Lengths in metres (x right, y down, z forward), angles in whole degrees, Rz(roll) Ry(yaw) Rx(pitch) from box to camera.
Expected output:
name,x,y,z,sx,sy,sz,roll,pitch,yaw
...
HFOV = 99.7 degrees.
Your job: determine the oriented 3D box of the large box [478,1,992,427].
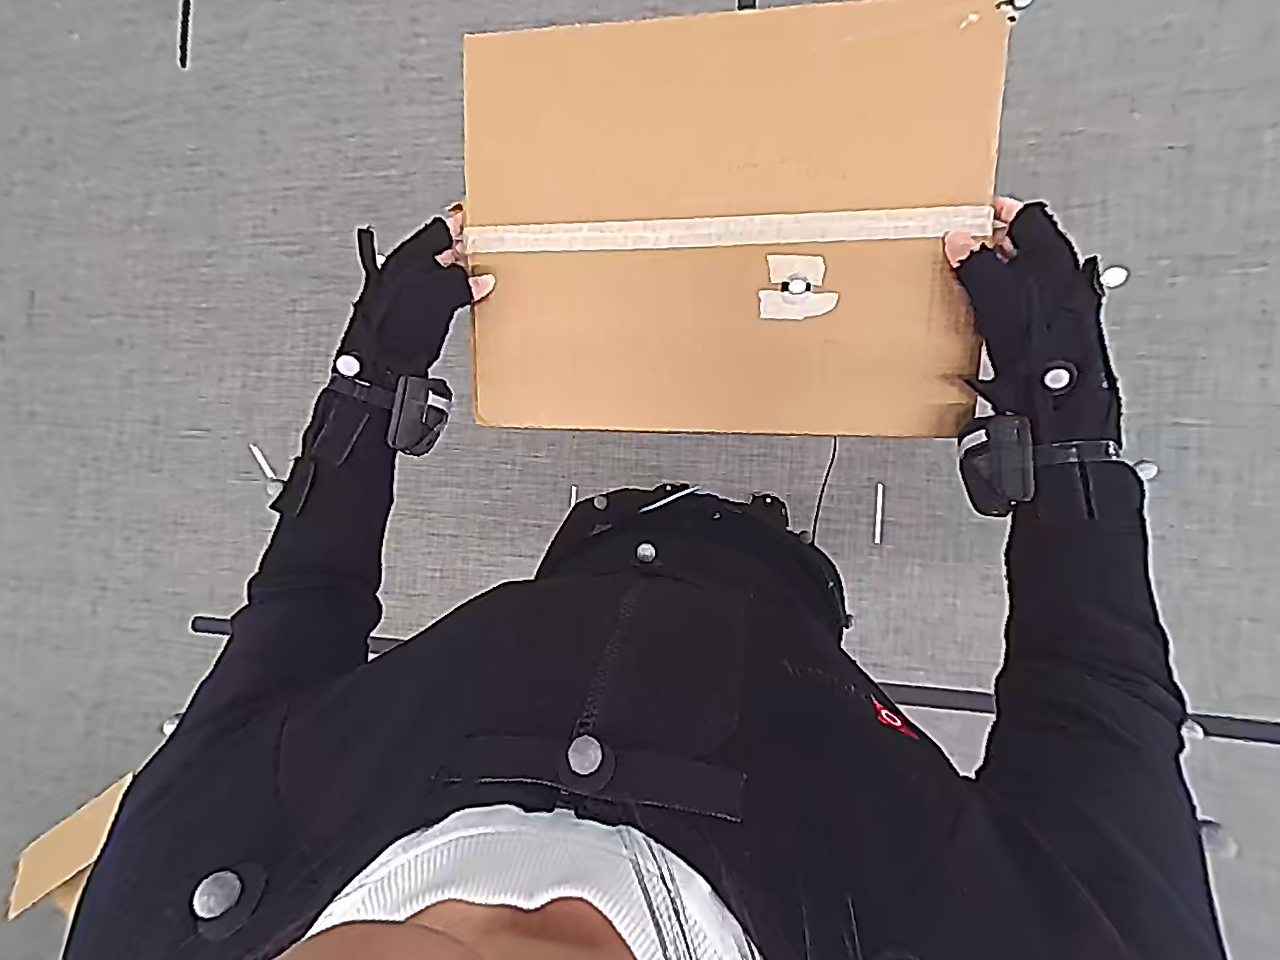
name,x,y,z,sx,sy,sz,roll,pitch,yaw
large box,0.080,-0.218,0.585,0.408,0.320,0.320,2,98,8
